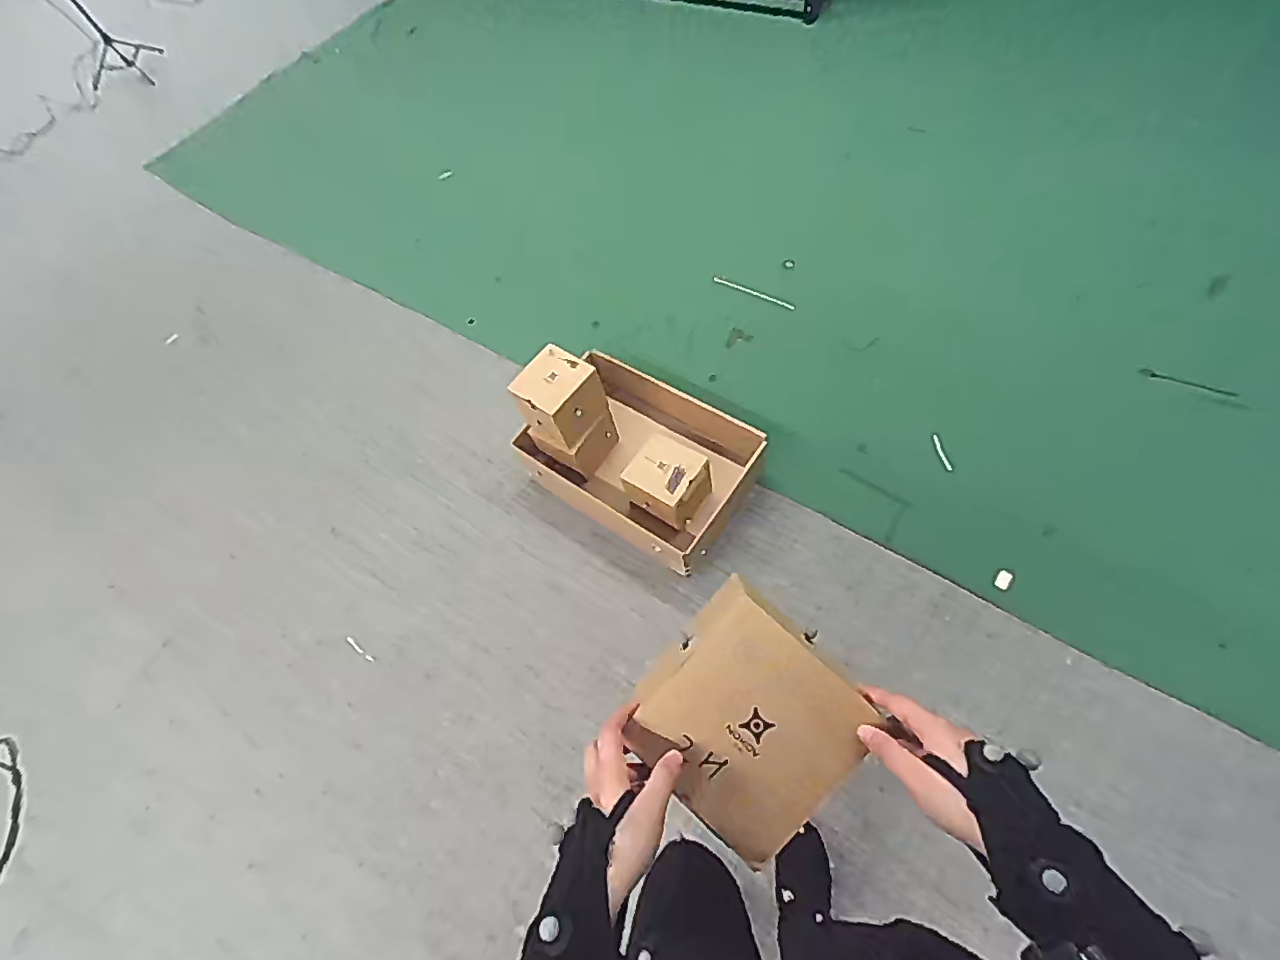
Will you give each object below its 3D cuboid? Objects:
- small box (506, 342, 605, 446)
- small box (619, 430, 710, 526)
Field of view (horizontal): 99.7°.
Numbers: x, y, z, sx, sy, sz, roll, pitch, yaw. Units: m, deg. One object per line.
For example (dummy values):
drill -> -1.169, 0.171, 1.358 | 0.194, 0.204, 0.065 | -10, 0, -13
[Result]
small box -> -0.212, -0.221, 1.420 | 0.168, 0.176, 0.179 | 32, 74, 22
small box -> 0.073, 0.004, 1.445 | 0.179, 0.176, 0.168 | 30, 72, 23
